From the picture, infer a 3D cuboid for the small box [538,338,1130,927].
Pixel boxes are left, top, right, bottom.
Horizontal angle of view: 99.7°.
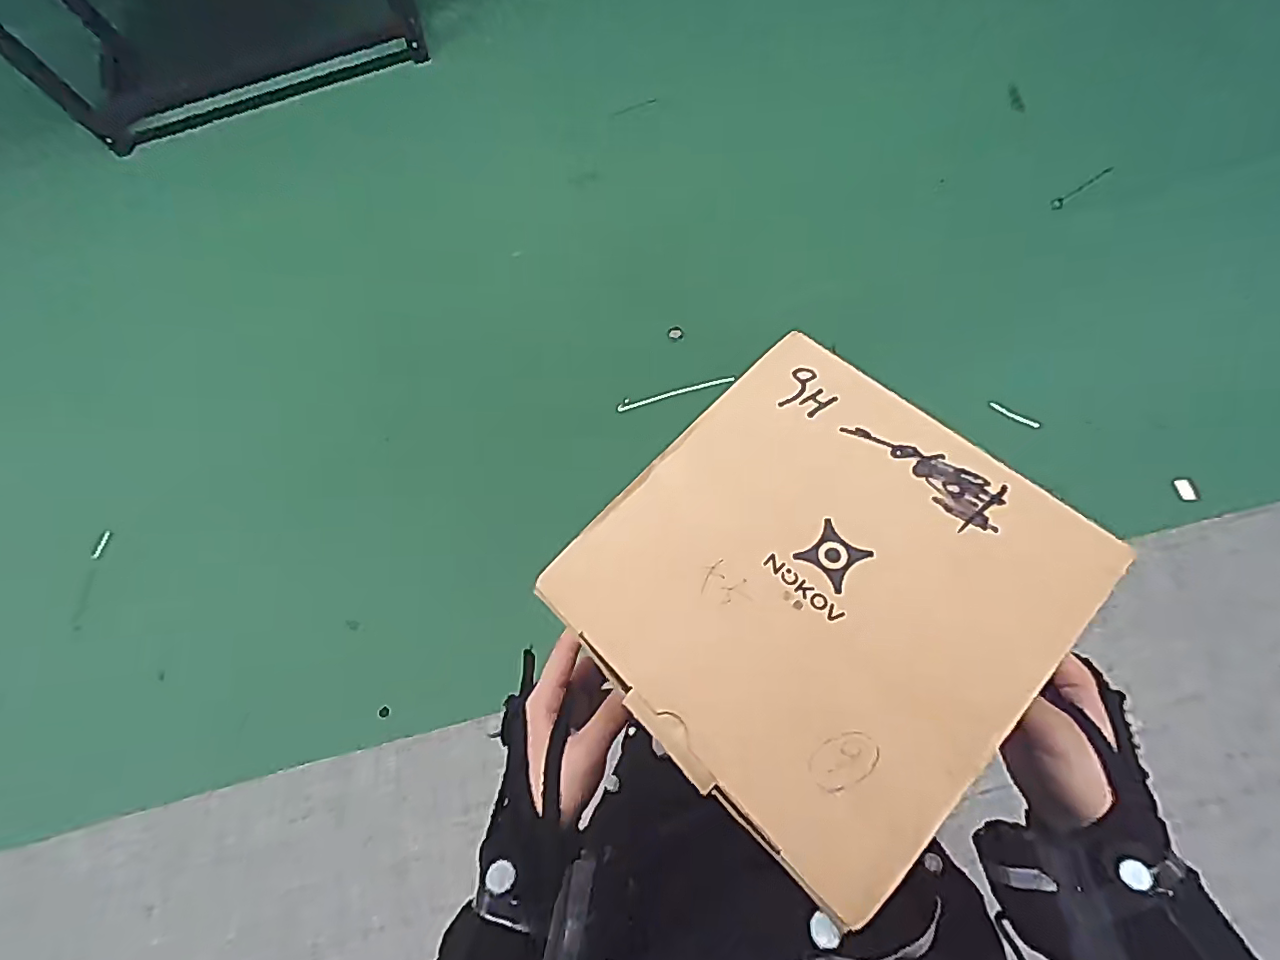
[{"bbox_3d":[0.082,0.069,0.291,0.179,0.176,0.168,-44,68,-10],"label":"small box"}]
